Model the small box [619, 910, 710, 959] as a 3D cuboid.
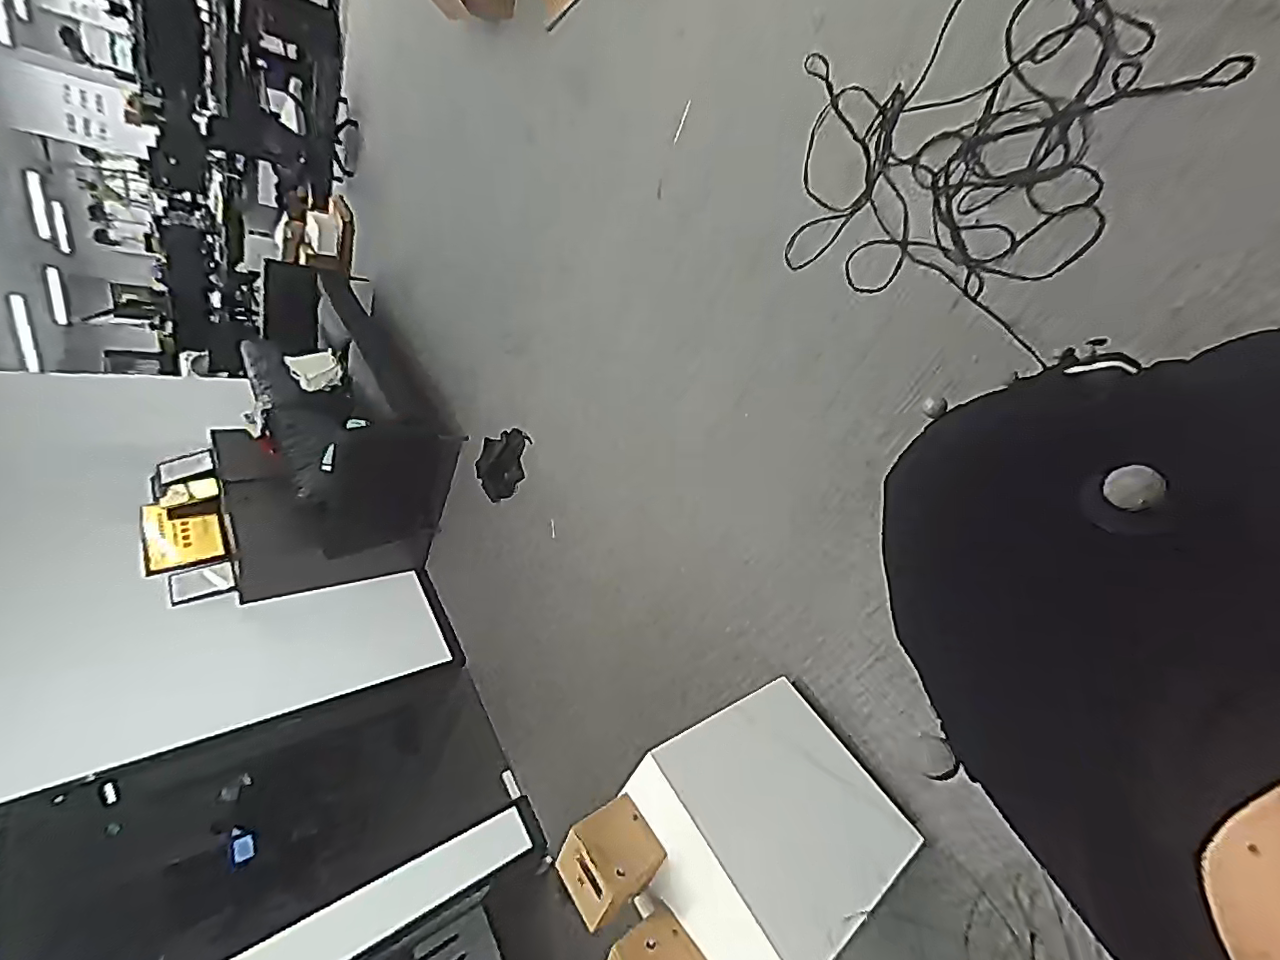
[{"bbox_3d":[0.057,1.112,1.188,0.168,0.176,0.179,31,118,43],"label":"small box"}]
